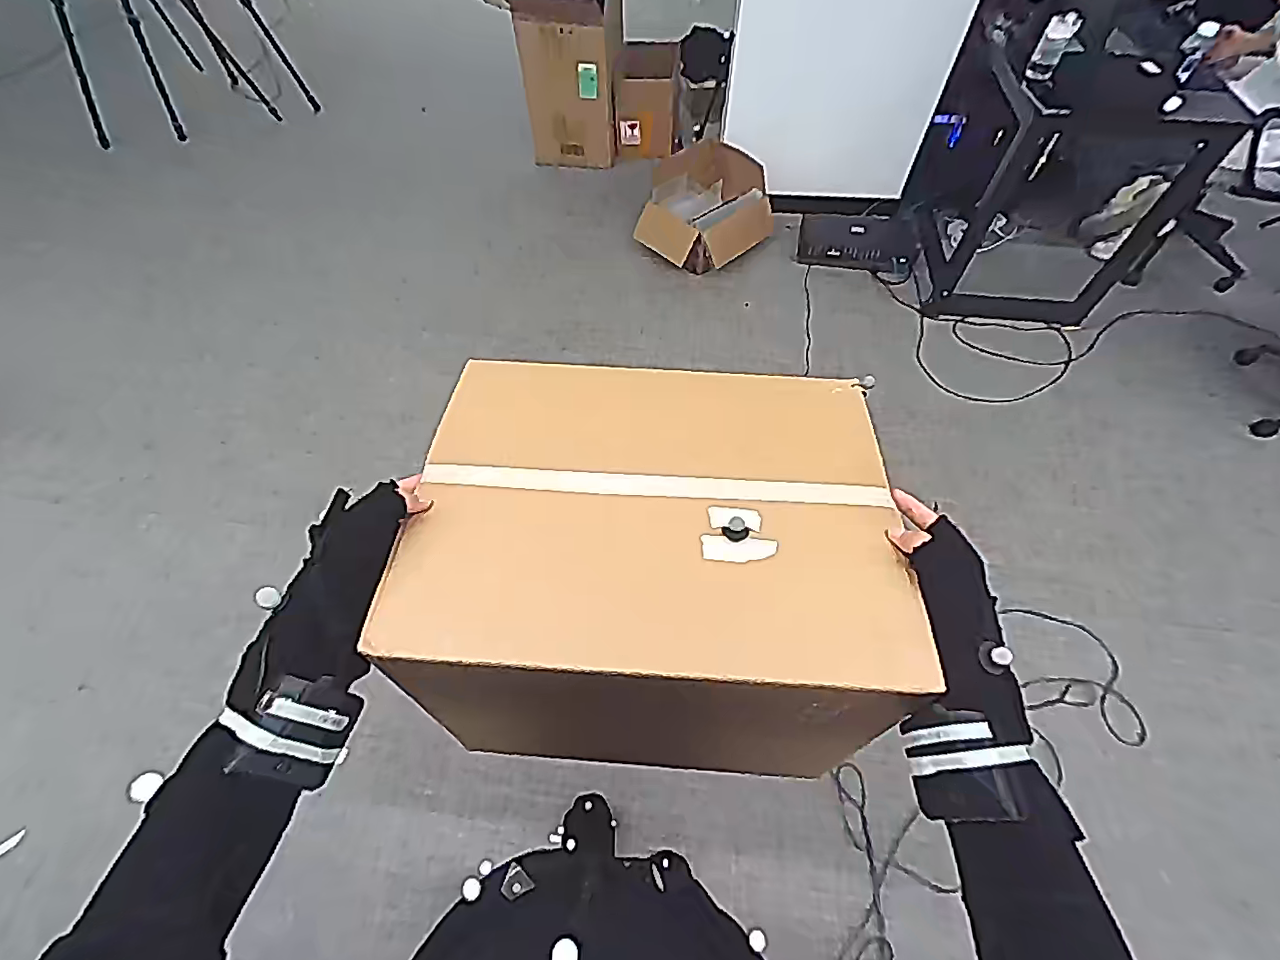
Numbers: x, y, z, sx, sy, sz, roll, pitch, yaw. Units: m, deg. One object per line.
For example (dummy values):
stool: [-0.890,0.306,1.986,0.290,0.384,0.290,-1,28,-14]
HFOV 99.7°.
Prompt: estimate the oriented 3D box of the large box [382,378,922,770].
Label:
large box: [0.011,0.111,0.599,0.408,0.320,0.320,4,52,2]
